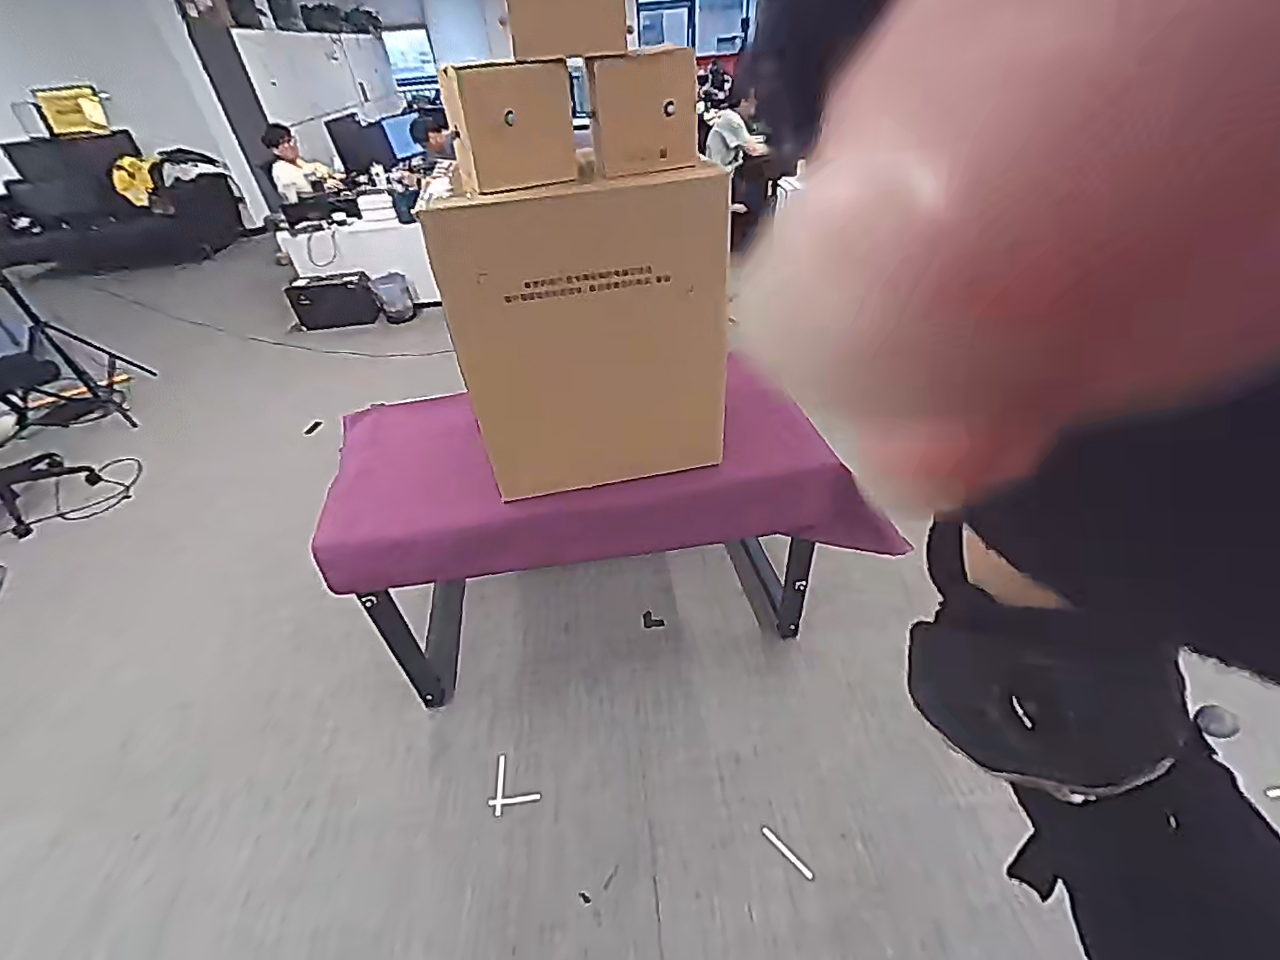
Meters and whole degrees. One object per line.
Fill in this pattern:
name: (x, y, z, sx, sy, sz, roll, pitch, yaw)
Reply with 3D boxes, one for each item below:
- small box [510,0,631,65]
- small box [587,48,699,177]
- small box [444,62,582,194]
small box: (-0.108, -0.744, 0.825, 0.179, 0.176, 0.168, -8, 40, -4)
small box: (0.006, -0.642, 0.949, 0.168, 0.176, 0.179, -10, 39, -7)
small box: (-0.211, -0.597, 0.917, 0.179, 0.176, 0.168, -18, 42, -18)
